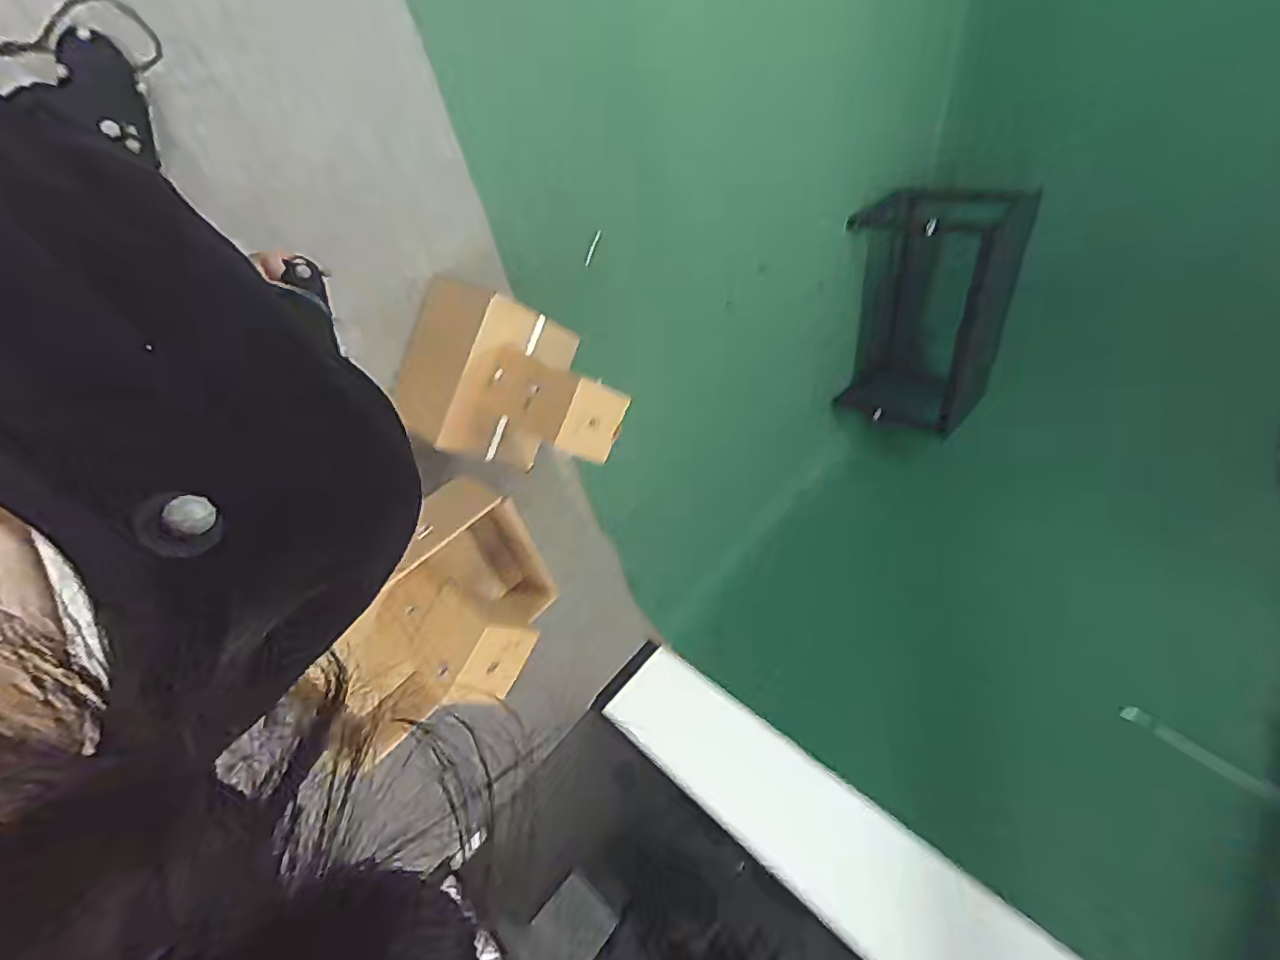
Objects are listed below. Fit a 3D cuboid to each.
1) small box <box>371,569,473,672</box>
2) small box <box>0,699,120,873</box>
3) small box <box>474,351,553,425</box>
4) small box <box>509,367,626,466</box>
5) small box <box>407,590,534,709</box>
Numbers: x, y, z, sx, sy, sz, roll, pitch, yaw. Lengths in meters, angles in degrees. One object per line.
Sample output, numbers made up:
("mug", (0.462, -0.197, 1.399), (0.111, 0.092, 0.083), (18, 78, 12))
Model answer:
("small box", (-0.496, 0.331, 1.268), (0.168, 0.176, 0.179), (33, 84, -51))
("small box", (-1.027, 0.523, 0.942), (0.168, 0.176, 0.179), (-5, 115, -47))
("small box", (-0.282, -0.211, 1.371), (0.179, 0.176, 0.168), (23, 93, -52))
("small box", (-0.171, -0.150, 1.268), (0.179, 0.176, 0.168), (18, 96, -52))
("small box", (-0.371, 0.365, 1.164), (0.168, 0.176, 0.179), (36, 82, -53))
